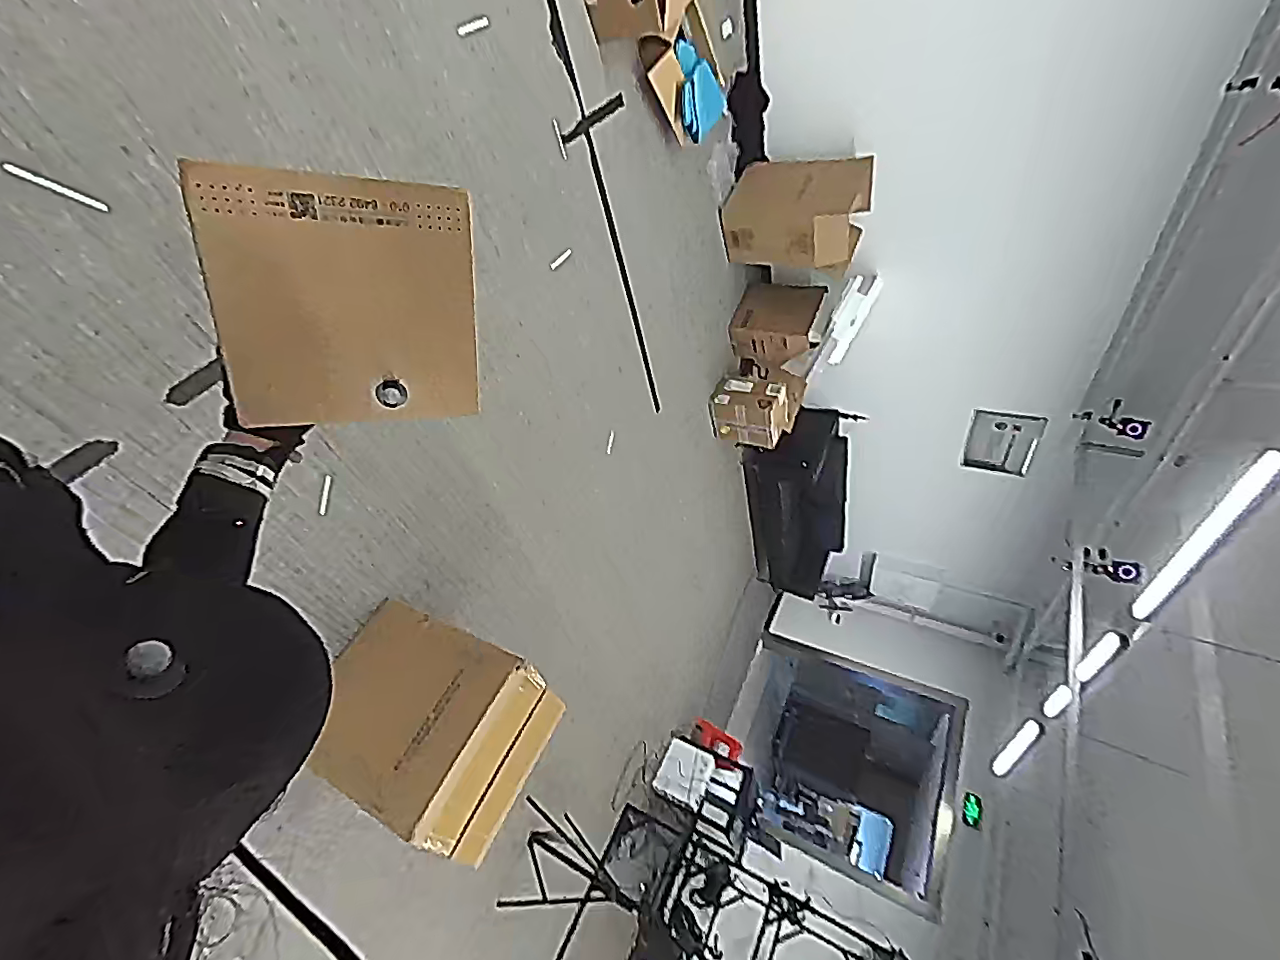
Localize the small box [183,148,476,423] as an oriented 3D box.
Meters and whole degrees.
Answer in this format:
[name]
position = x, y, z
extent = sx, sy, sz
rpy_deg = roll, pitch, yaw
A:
[small box]
position = -0.232, -0.156, 0.440
extent = 0.168, 0.179, 0.176
rpy_deg = -6, 117, -24
